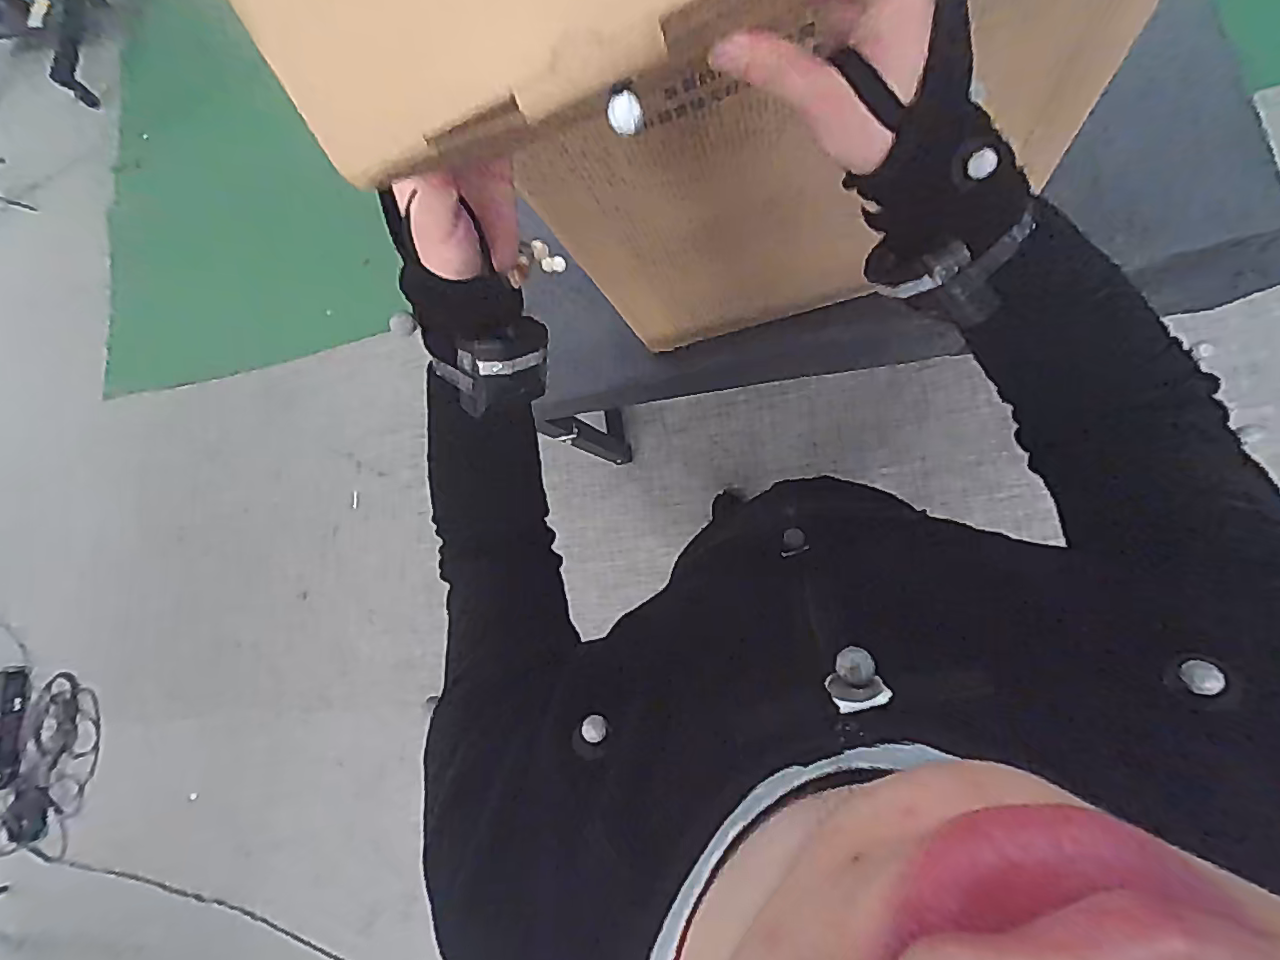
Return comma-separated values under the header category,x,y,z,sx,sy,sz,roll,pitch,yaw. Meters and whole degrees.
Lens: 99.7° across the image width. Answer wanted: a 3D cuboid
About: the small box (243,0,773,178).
category,x,y,z,sx,sy,sz,roll,pitch,yaw
small box,-0.042,-0.229,0.174,0.168,0.176,0.179,-17,121,14
